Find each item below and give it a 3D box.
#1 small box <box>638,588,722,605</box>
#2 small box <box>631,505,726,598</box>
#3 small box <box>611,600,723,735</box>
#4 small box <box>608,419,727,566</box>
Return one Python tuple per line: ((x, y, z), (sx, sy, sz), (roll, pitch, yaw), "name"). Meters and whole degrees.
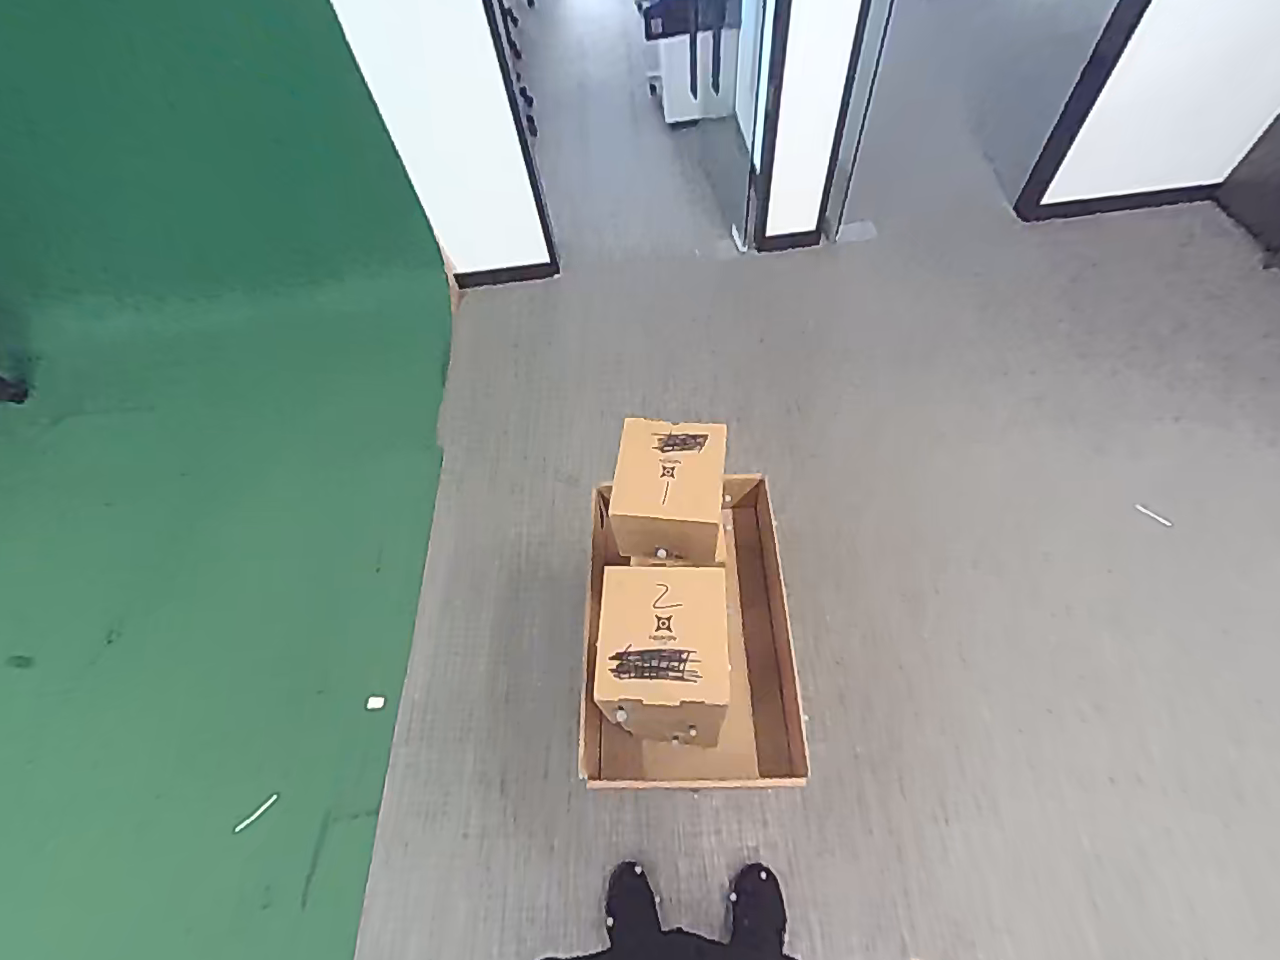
((0.084, 0.194, 1.168), (0.168, 0.176, 0.179), (-4, 59, 4), "small box")
((0.069, 0.111, 1.029), (0.168, 0.176, 0.179), (-4, 59, 3), "small box")
((0.053, 0.314, 0.896), (0.168, 0.176, 0.179), (1, 57, 6), "small box")
((0.050, 0.023, 0.892), (0.168, 0.176, 0.179), (5, 61, 9), "small box")
